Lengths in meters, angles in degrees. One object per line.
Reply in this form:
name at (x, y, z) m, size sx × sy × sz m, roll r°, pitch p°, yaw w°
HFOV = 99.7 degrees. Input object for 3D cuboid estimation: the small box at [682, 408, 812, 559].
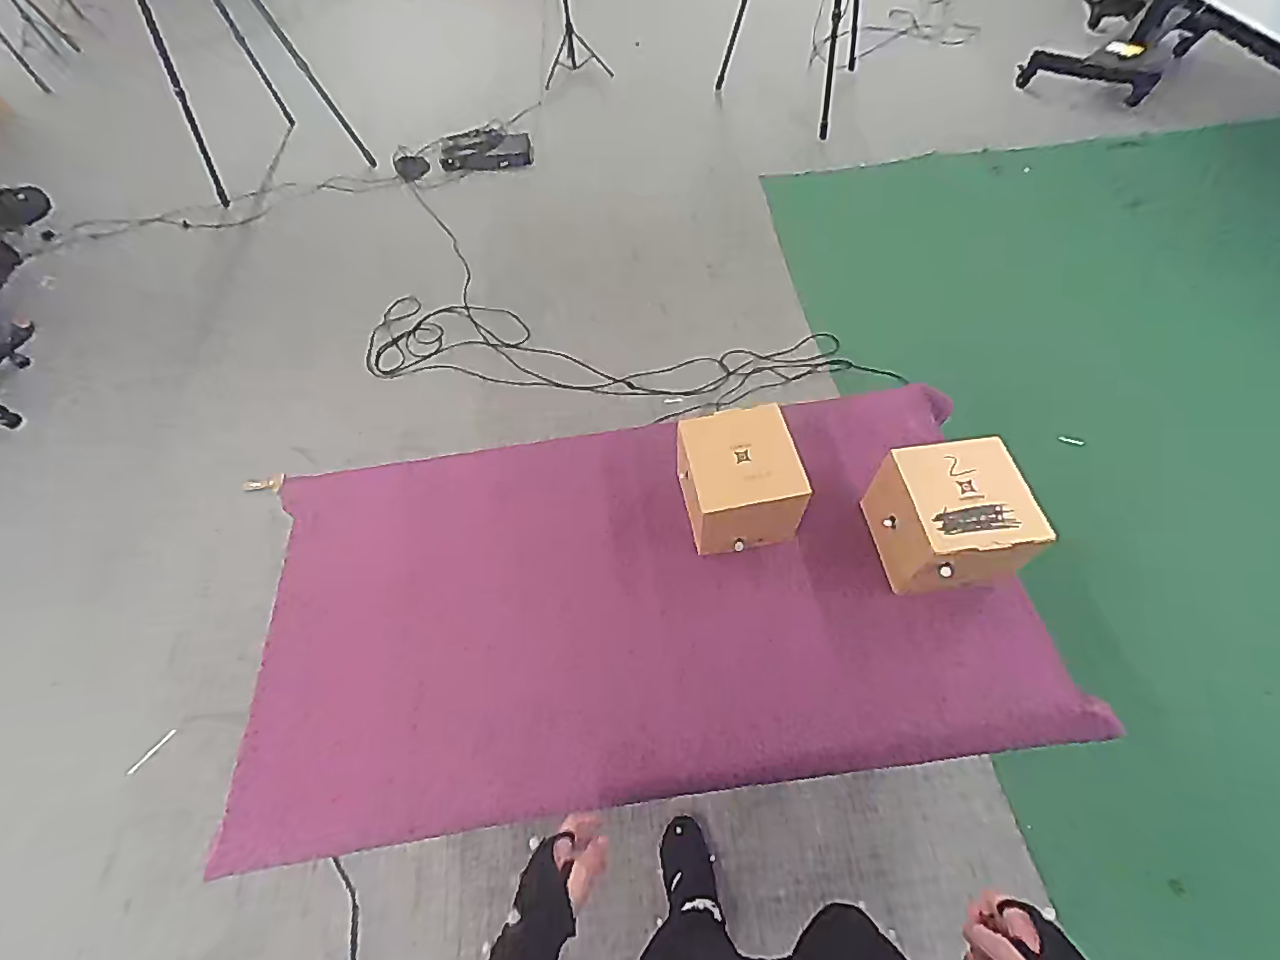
small box at (0.163, 0.009, 0.893) m, size 0.168 × 0.176 × 0.179 m, roll -10°, pitch 59°, yaw -1°
